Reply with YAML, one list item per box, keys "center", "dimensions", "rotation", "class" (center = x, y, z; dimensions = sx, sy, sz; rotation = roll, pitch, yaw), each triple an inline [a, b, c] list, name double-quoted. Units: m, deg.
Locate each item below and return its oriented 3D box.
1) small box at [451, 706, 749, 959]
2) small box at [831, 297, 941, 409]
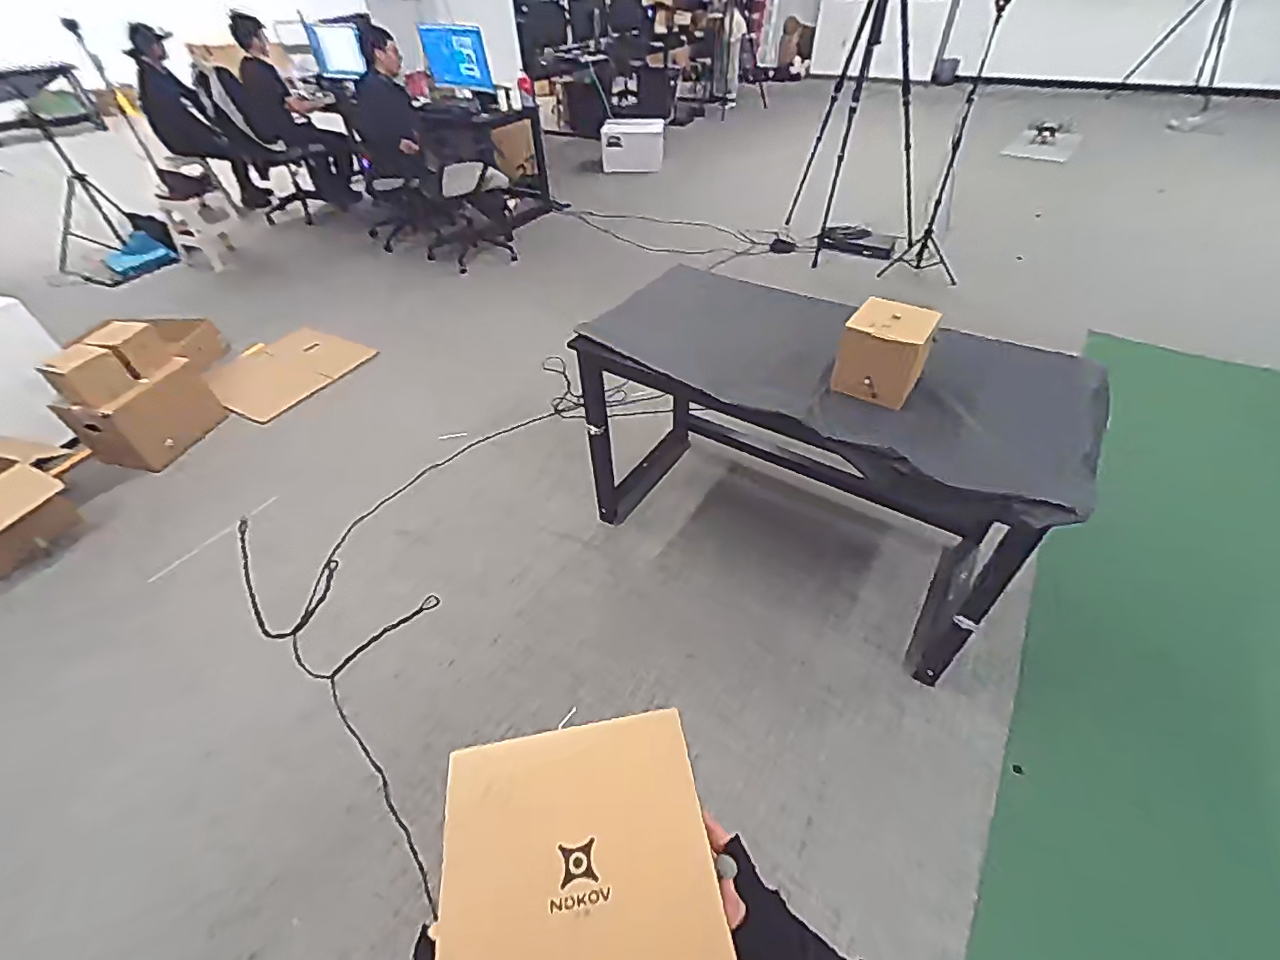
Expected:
- center: [-0.030, 0.293, 0.386]
  dimensions: [0.168, 0.176, 0.179]
  rotation: [-7, 45, -7]
  class: "small box"
- center: [0.565, -0.295, 1.257]
  dimensions: [0.168, 0.176, 0.179]
  rotation: [26, 51, 26]
  class: "small box"
